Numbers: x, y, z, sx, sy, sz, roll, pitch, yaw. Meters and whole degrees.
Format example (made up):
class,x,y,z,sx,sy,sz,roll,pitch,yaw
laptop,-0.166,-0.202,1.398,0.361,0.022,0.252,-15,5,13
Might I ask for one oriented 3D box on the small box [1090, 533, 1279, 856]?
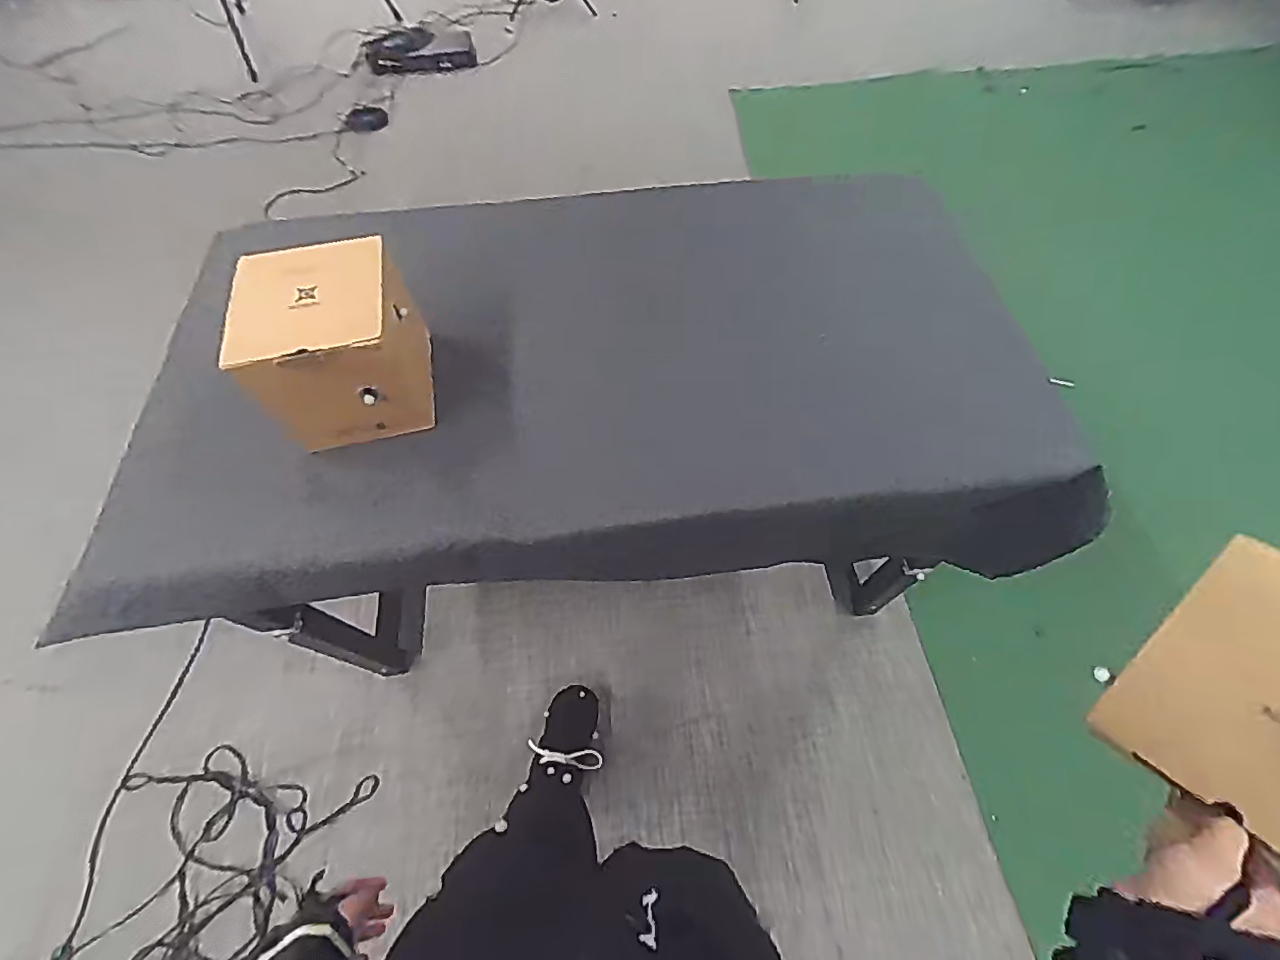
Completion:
class,x,y,z,sx,sy,sz,roll,pitch,yaw
small box,0.470,0.170,0.391,0.179,0.176,0.168,-56,45,6

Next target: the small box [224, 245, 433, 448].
class,x,y,z,sx,sy,sz,roll,pitch,yaw
small box,-0.367,-0.155,0.672,0.168,0.176,0.179,-12,60,-7
